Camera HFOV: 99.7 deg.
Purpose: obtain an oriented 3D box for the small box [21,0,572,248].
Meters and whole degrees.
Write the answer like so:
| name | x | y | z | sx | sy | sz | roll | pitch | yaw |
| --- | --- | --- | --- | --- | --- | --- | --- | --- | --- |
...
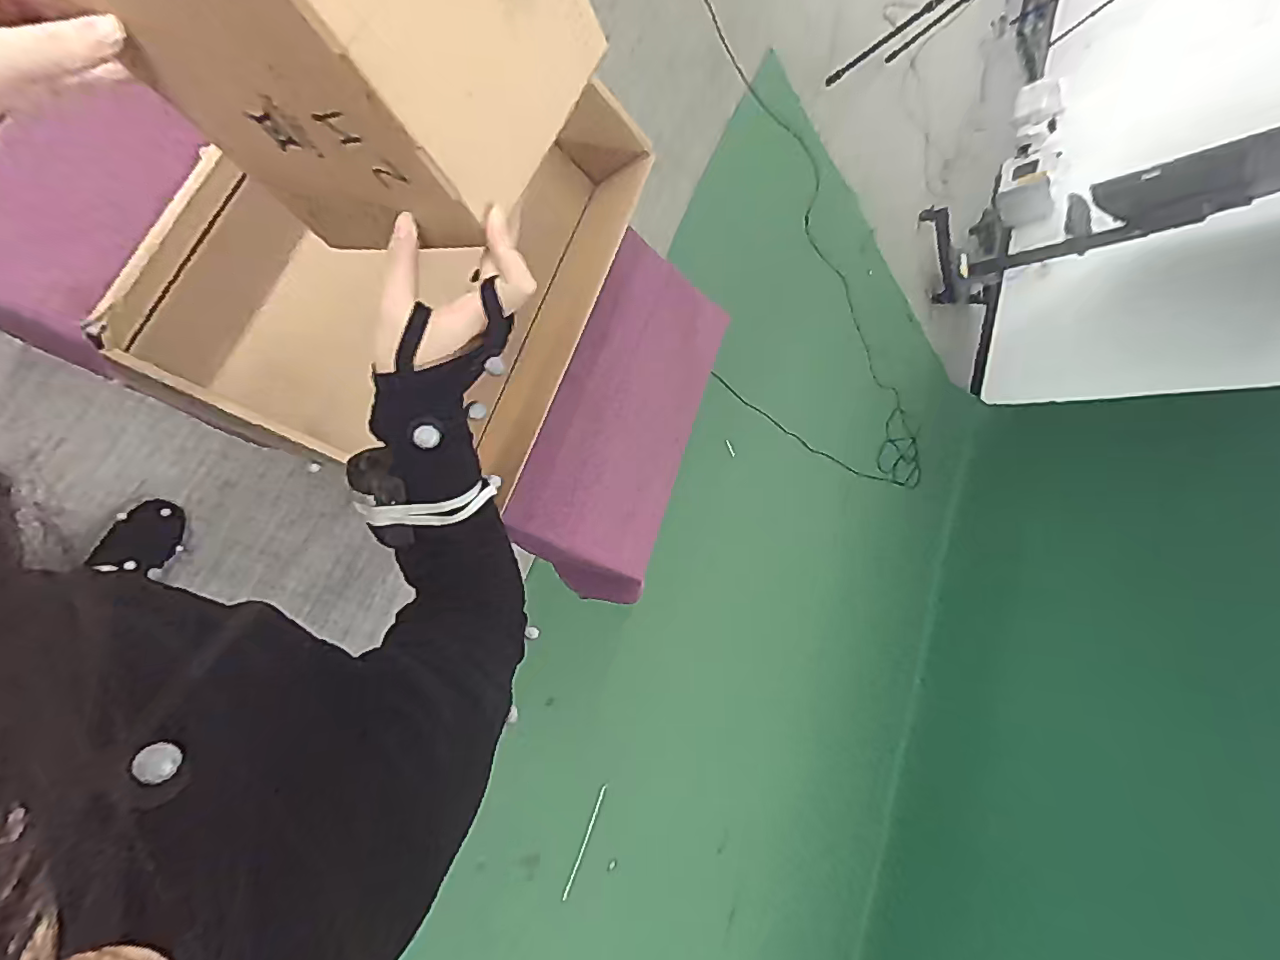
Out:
| name | x | y | z | sx | sy | sz | roll | pitch | yaw |
| --- | --- | --- | --- | --- | --- | --- | --- | --- | --- |
| small box | -0.170 | -0.258 | 0.302 | 0.168 | 0.179 | 0.176 | 44 | 65 | -56 |
